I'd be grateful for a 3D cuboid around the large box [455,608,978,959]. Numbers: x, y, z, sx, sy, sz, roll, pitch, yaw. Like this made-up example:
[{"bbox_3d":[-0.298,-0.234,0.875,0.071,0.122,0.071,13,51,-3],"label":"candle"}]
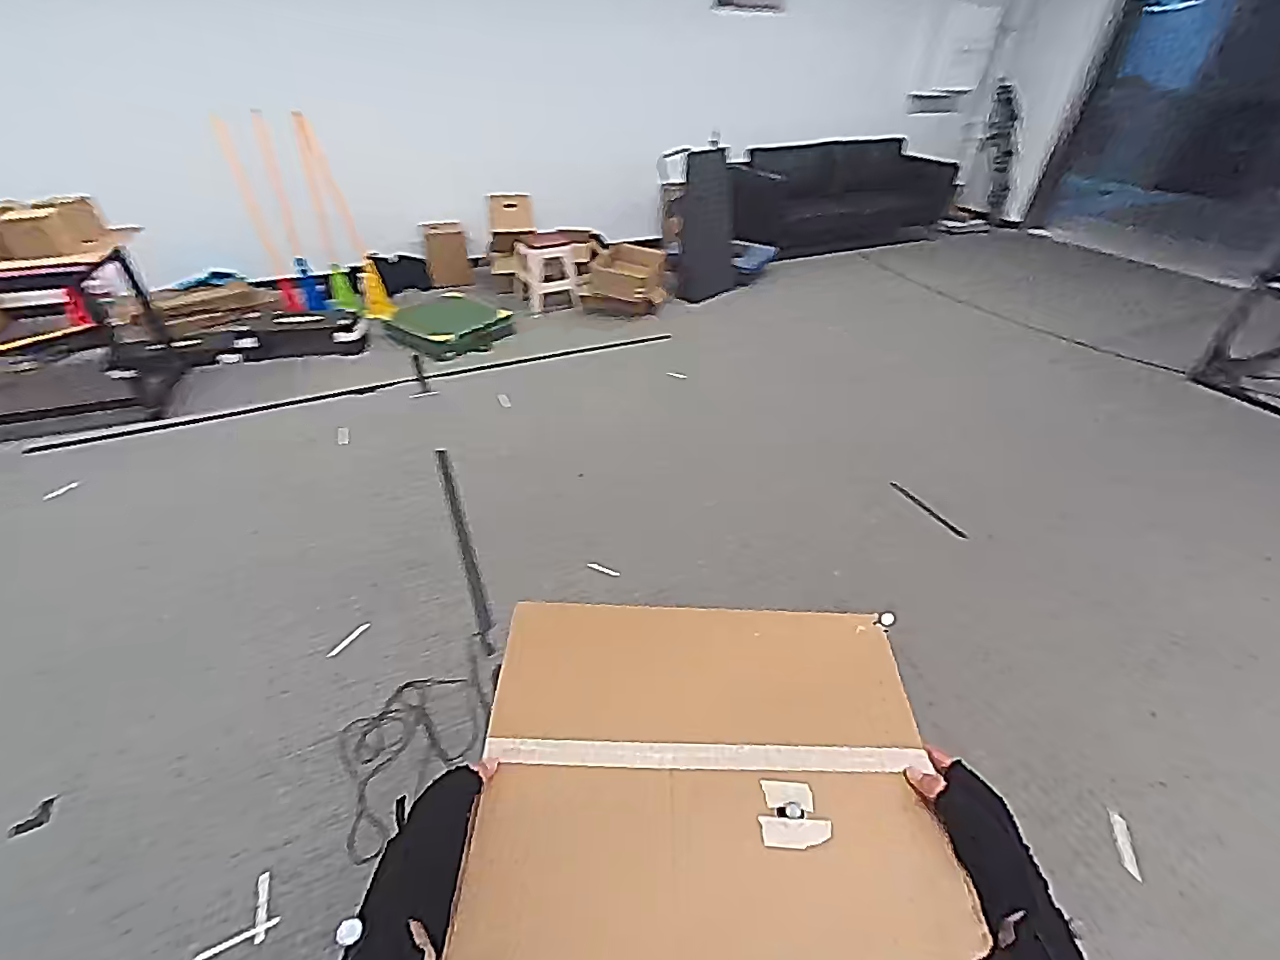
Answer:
[{"bbox_3d":[0.052,0.362,0.609,0.408,0.320,0.320,2,45,-1],"label":"large box"}]
